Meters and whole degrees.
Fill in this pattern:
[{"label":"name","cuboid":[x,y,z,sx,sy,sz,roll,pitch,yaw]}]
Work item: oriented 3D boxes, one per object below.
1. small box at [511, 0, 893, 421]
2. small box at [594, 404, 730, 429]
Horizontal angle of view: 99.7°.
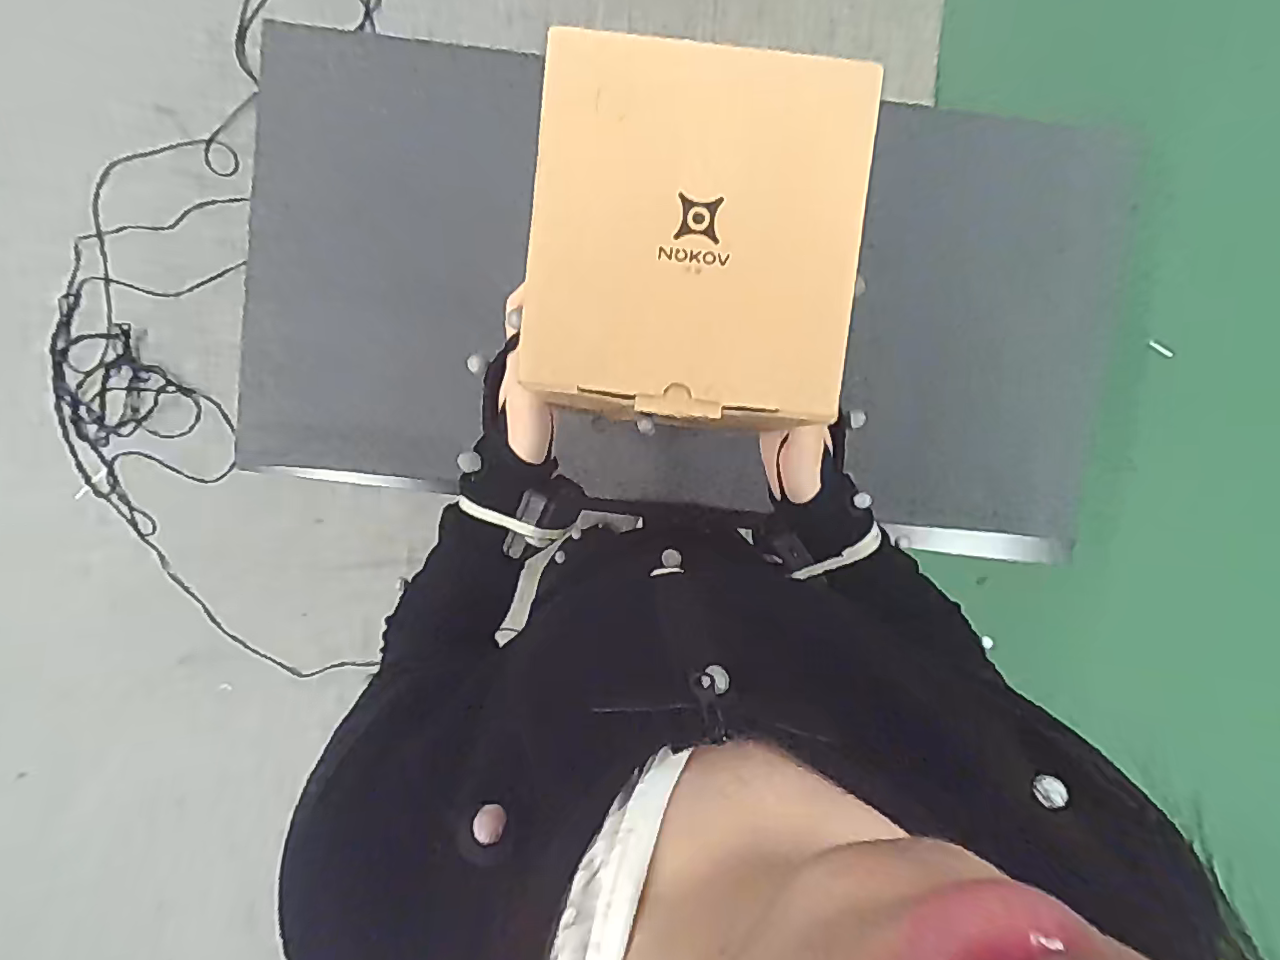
[{"label":"small box","cuboid":[0.027,-0.136,0.332,0.168,0.176,0.179,6,93,0]},{"label":"small box","cuboid":[0.029,-0.162,0.658,0.168,0.176,0.179,8,93,0]}]
